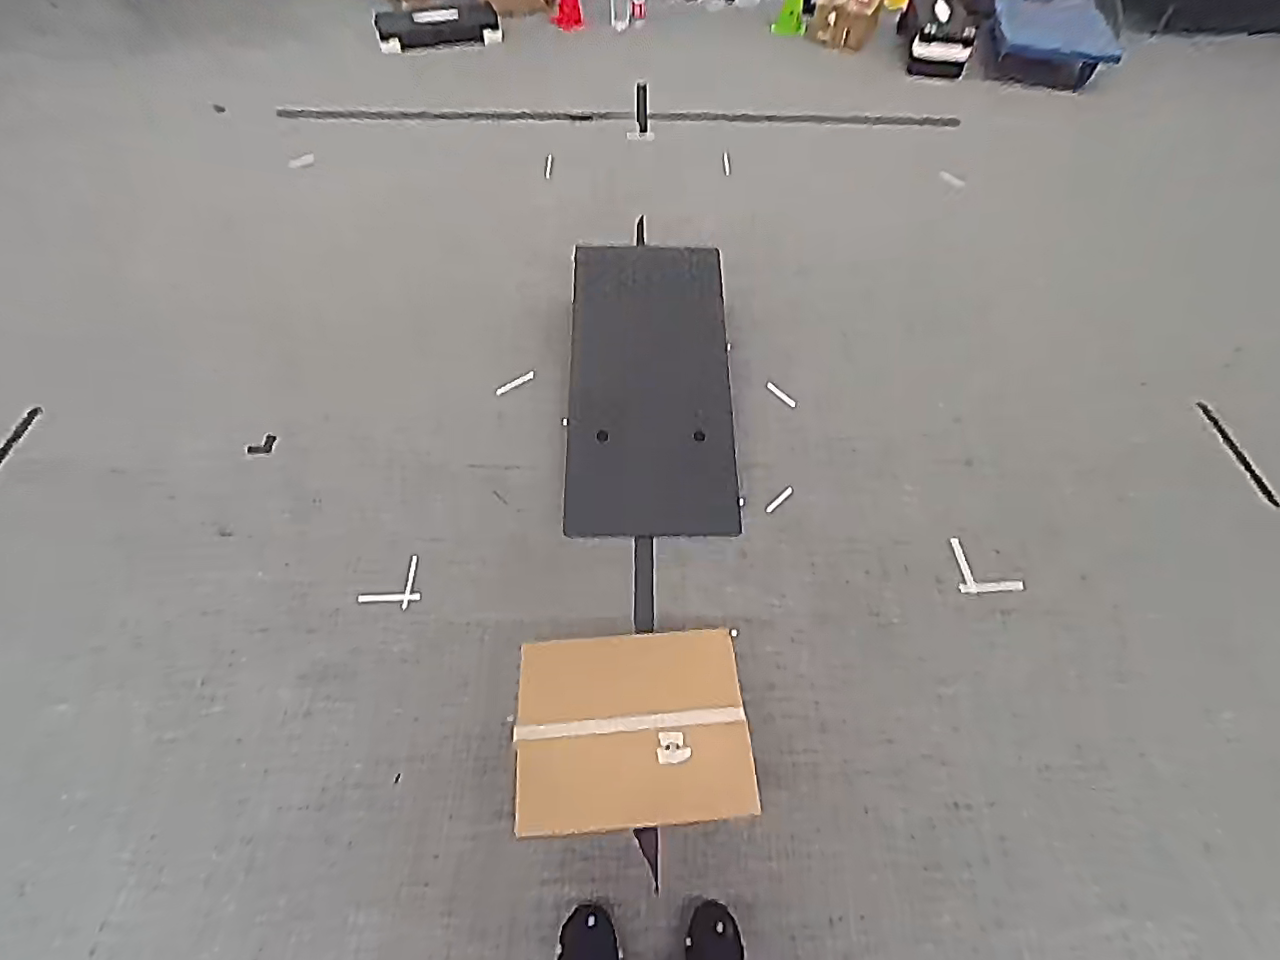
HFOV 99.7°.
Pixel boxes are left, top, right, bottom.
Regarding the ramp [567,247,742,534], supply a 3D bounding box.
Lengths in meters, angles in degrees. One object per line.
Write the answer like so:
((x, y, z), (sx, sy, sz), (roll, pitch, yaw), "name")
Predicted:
((0.037, -0.317, 1.661), (0.509, 0.206, 0.991), (-1, 59, -3), "ramp")

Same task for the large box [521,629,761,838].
((-0.014, 0.510, 1.084), (0.408, 0.320, 0.320), (-3, 59, -4), "large box")
